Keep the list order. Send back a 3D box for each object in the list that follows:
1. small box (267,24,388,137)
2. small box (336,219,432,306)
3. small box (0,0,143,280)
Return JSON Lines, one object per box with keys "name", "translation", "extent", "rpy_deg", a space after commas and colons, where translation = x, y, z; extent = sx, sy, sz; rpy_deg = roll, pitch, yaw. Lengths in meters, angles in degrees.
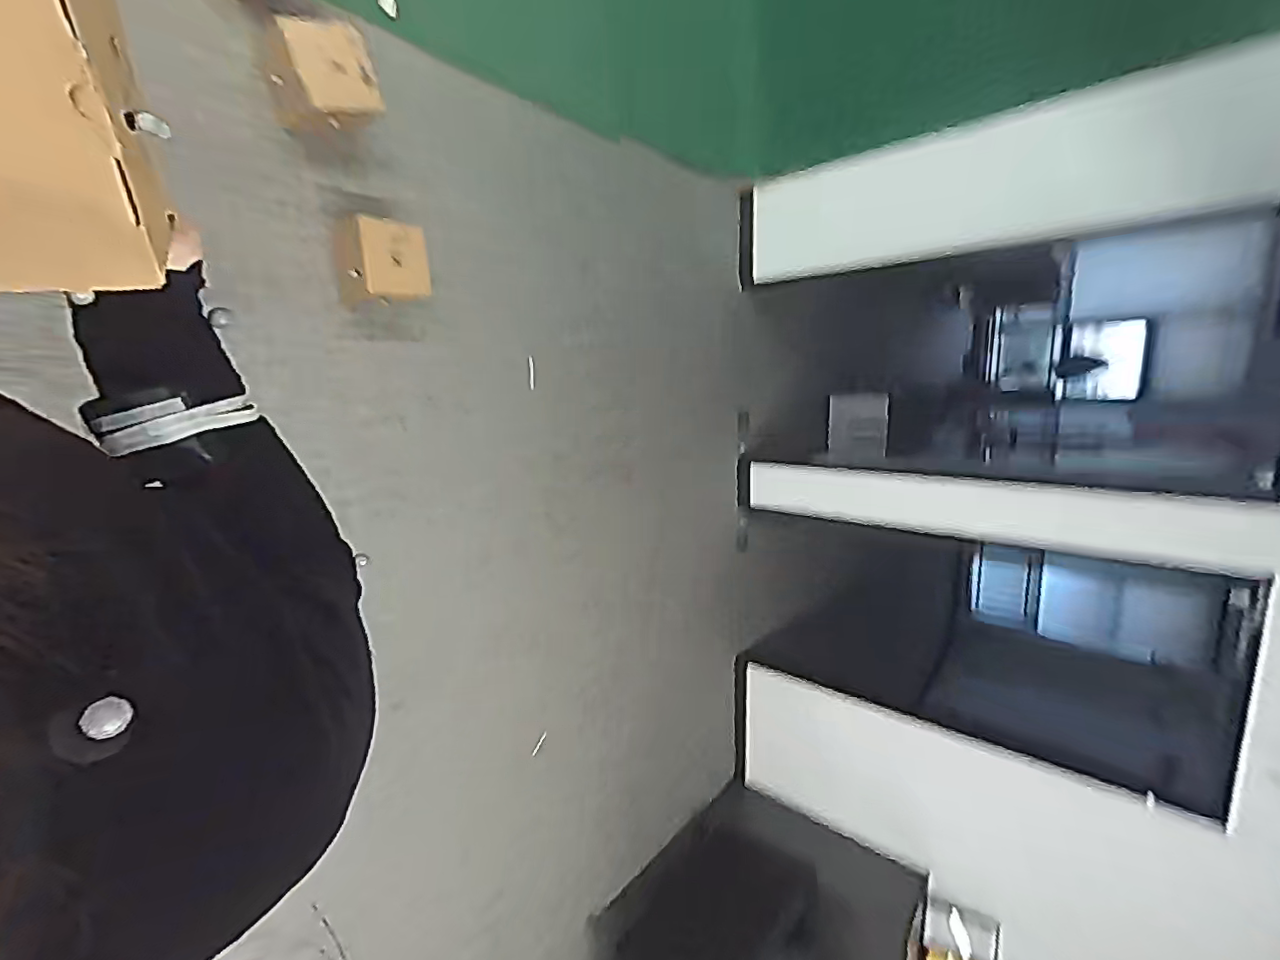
{"name": "small box", "translation": [-0.734, -0.918, 1.260], "extent": [0.179, 0.176, 0.168], "rpy_deg": [-35, 121, -41]}
{"name": "small box", "translation": [-0.662, -0.552, 1.399], "extent": [0.168, 0.176, 0.179], "rpy_deg": [-15, 107, -49]}
{"name": "small box", "translation": [-0.369, -0.195, 0.245], "extent": [0.179, 0.176, 0.168], "rpy_deg": [-17, 131, -32]}
